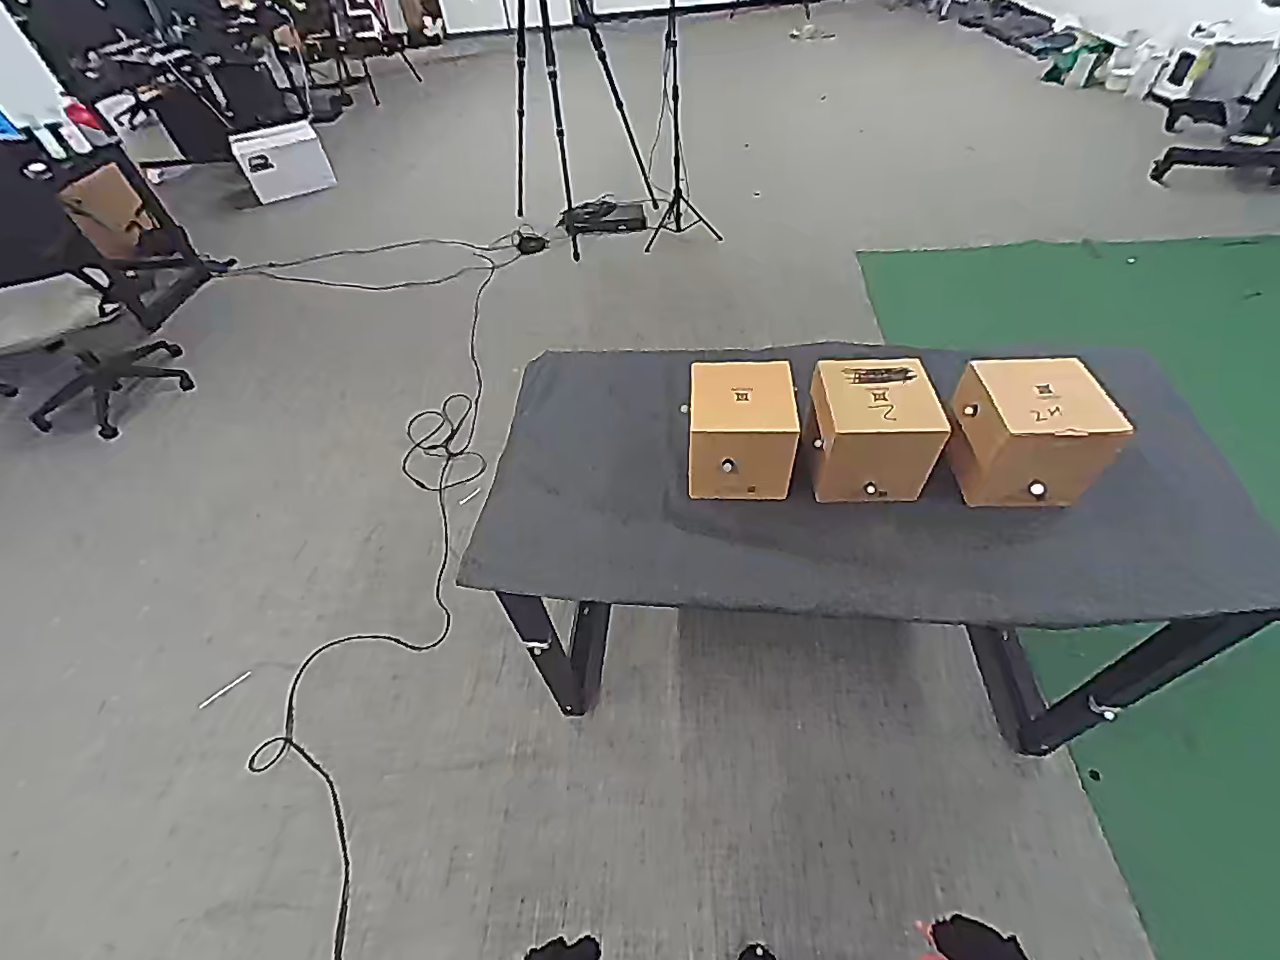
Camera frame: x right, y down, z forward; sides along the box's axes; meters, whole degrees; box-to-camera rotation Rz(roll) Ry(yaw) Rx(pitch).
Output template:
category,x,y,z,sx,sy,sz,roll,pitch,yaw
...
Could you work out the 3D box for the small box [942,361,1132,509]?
category,x,y,z,sx,sy,sz,roll,pitch,yaw
small box,0.620,-0.072,0.877,0.168,0.176,0.179,-1,48,7
